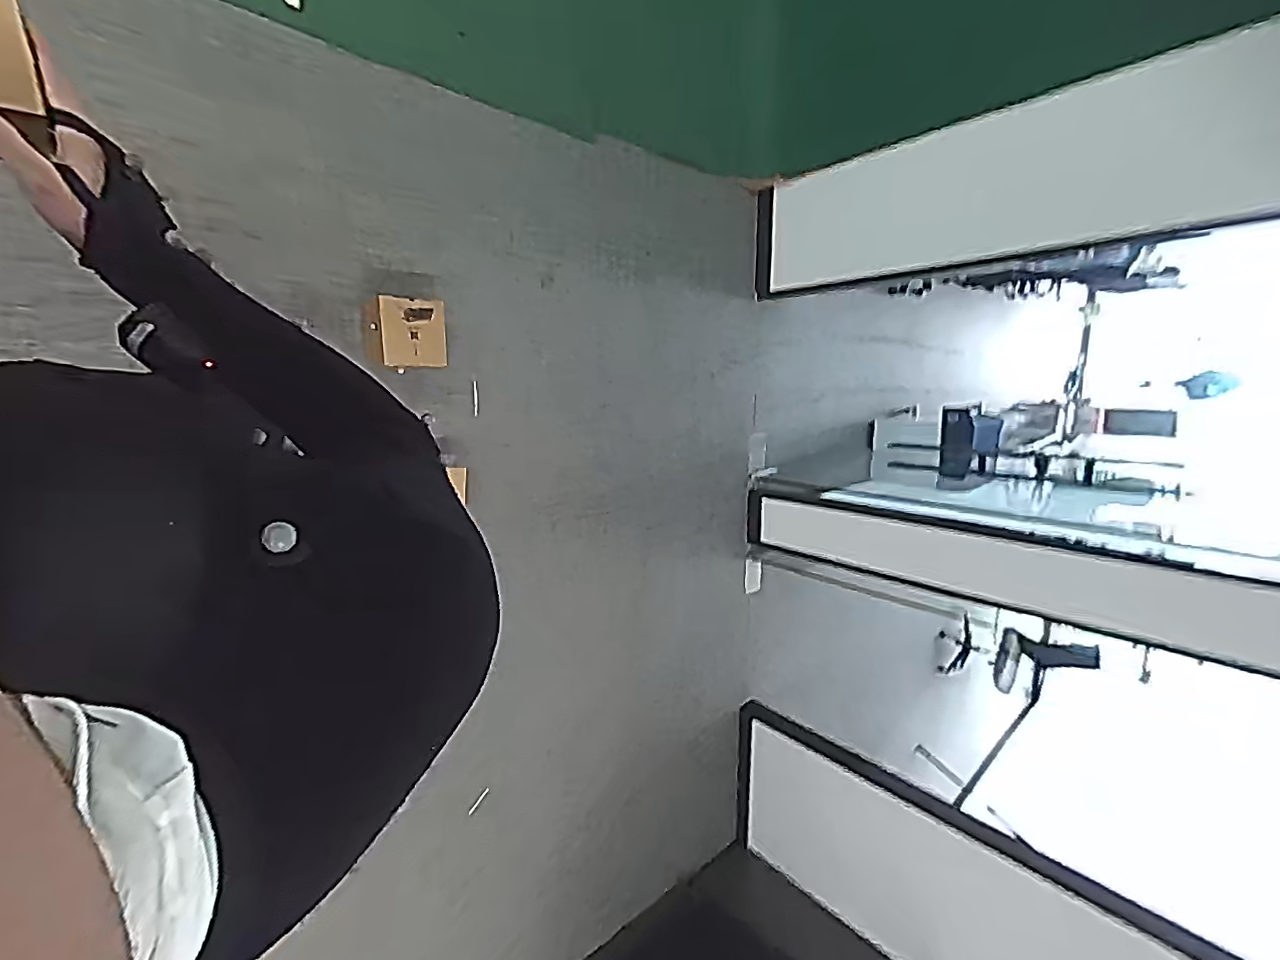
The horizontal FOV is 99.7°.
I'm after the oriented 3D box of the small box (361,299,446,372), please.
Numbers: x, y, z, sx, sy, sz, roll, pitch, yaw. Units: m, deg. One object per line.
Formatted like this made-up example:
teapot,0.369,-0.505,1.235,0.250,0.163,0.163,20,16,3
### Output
small box,-0.648,-0.387,1.477,0.168,0.176,0.179,-9,104,-41
